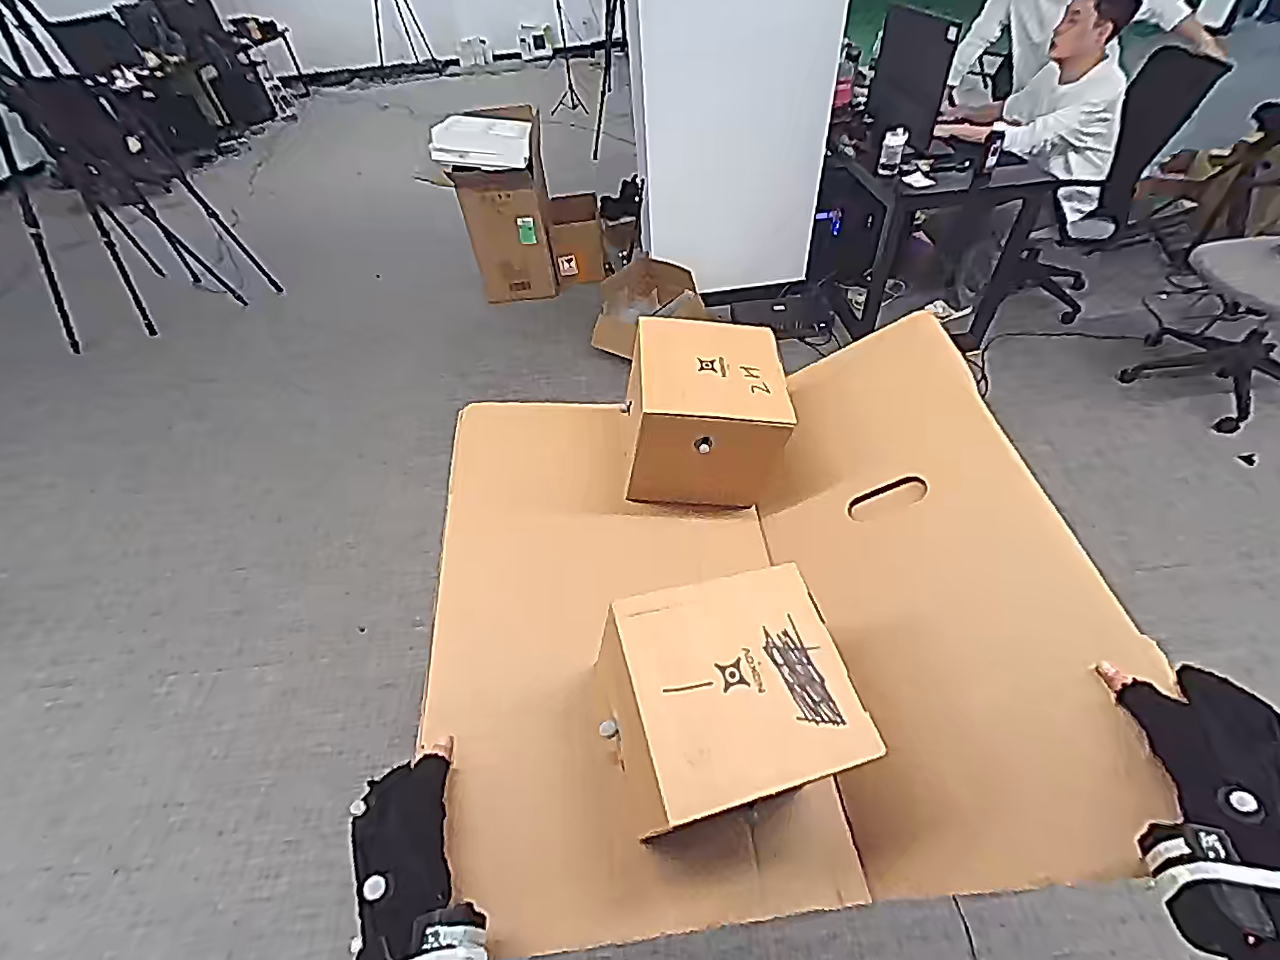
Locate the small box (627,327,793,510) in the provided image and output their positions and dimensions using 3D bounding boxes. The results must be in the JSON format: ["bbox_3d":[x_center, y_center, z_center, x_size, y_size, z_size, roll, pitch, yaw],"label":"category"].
[{"bbox_3d":[0.076,-0.074,0.706,0.179,0.176,0.168,4,53,-7],"label":"small box"}]

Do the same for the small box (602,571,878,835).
[{"bbox_3d":[0.071,0.206,0.497,0.179,0.176,0.168,-9,56,-15],"label":"small box"}]
